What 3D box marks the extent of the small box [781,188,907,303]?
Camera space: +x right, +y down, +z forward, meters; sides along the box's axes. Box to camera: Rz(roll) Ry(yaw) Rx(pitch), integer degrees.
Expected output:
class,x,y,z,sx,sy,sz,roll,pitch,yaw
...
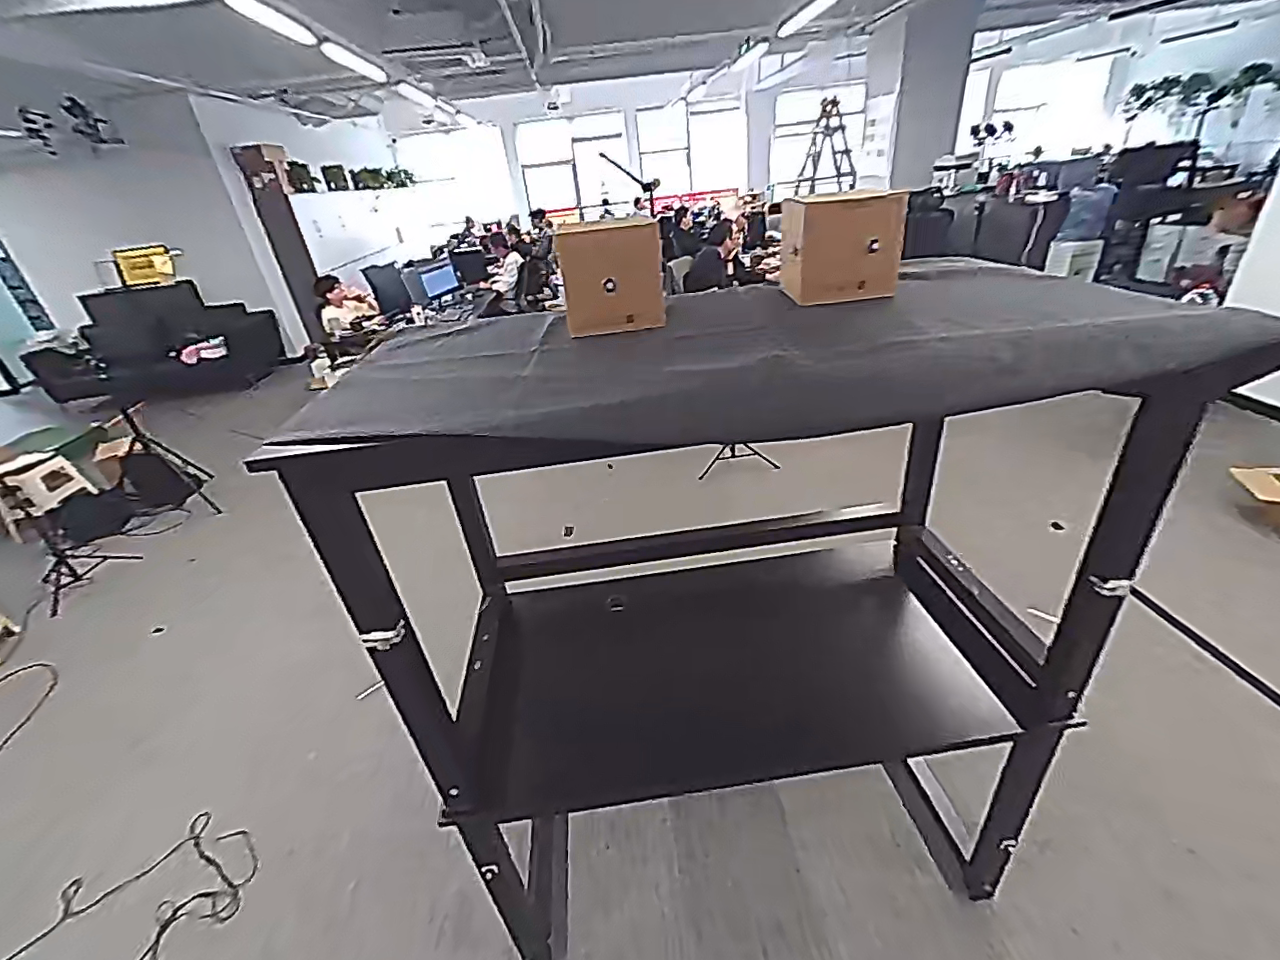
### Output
class,x,y,z,sx,sy,sz,roll,pitch,yaw
small box,0.357,-0.422,0.978,0.168,0.176,0.179,-4,29,2

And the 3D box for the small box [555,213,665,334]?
class,x,y,z,sx,sy,sz,roll,pitch,yaw
small box,-0.051,-0.362,0.954,0.168,0.176,0.179,-8,30,-3
